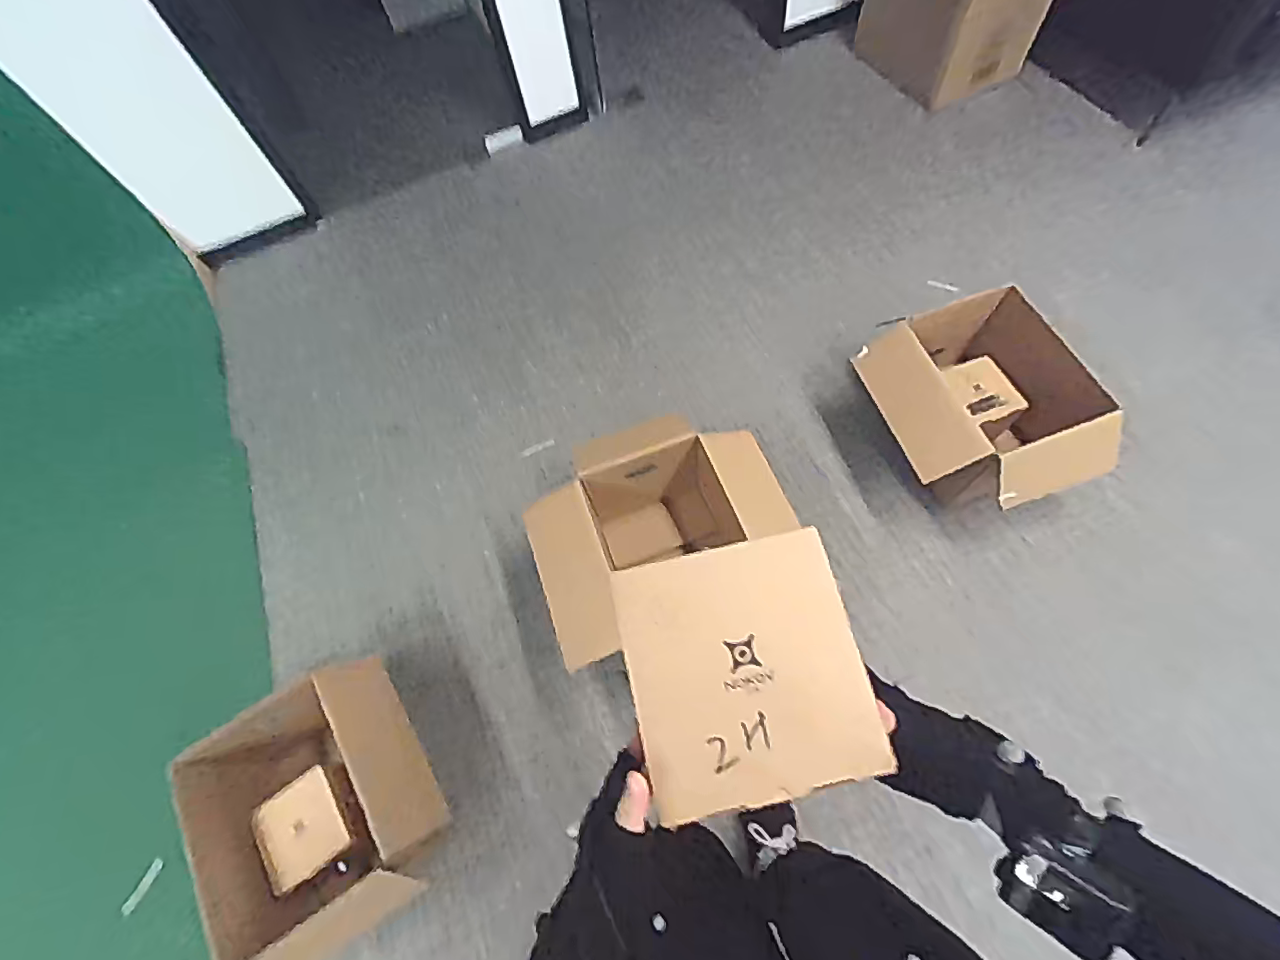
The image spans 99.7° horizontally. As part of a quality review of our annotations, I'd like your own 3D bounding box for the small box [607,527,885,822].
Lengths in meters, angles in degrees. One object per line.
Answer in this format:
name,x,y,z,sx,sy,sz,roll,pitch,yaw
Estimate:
small box,0.071,0.157,0.462,0.168,0.176,0.179,-12,72,-2
